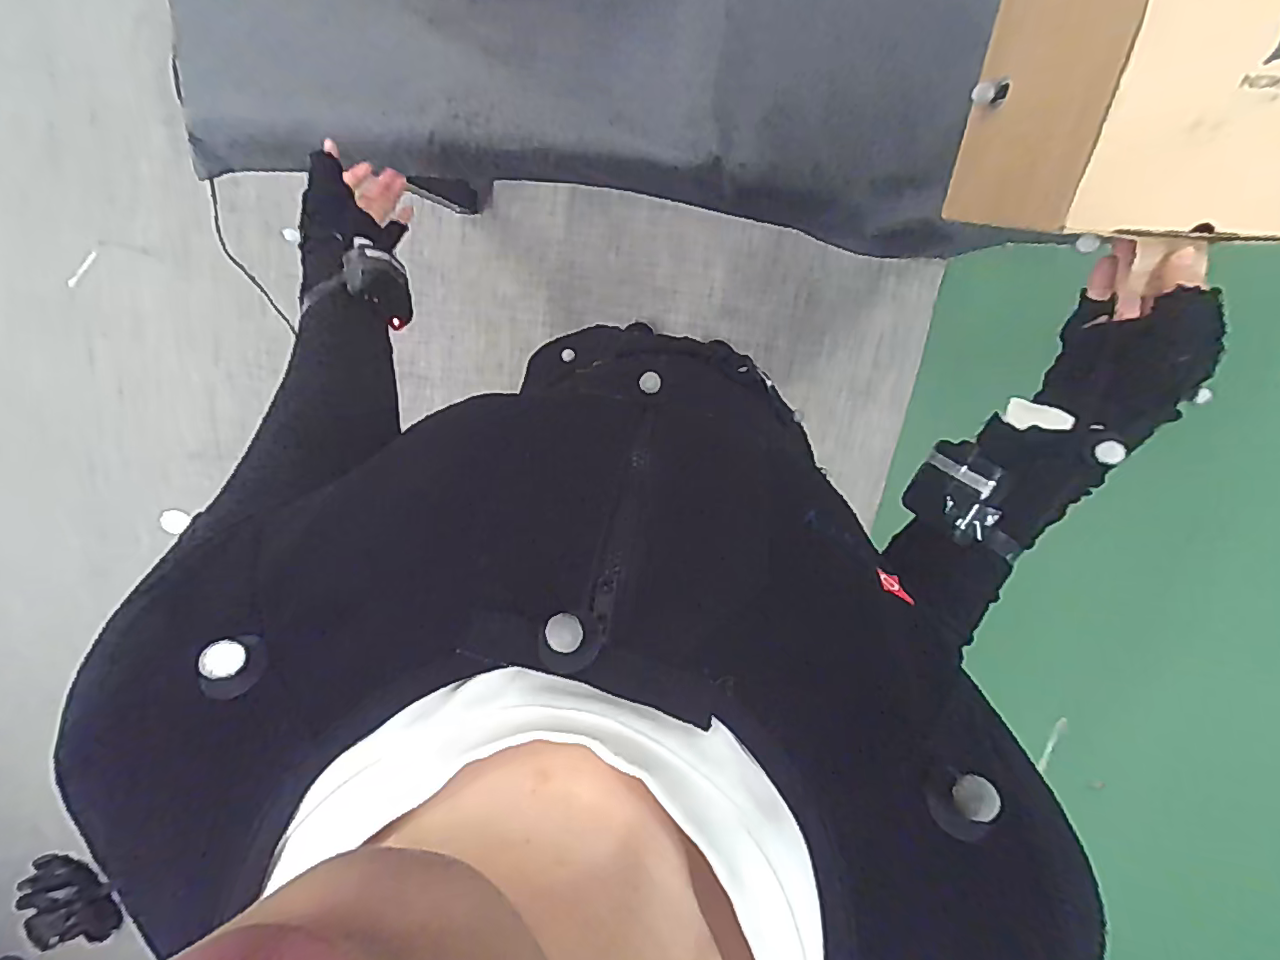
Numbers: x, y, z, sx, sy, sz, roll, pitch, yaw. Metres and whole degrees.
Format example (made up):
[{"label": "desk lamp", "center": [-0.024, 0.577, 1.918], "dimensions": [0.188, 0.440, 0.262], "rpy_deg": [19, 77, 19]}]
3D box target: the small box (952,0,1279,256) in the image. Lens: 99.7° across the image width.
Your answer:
[{"label": "small box", "center": [0.342, -0.256, 0.359], "dimensions": [0.168, 0.176, 0.179], "rpy_deg": [3, 119, 1]}]
